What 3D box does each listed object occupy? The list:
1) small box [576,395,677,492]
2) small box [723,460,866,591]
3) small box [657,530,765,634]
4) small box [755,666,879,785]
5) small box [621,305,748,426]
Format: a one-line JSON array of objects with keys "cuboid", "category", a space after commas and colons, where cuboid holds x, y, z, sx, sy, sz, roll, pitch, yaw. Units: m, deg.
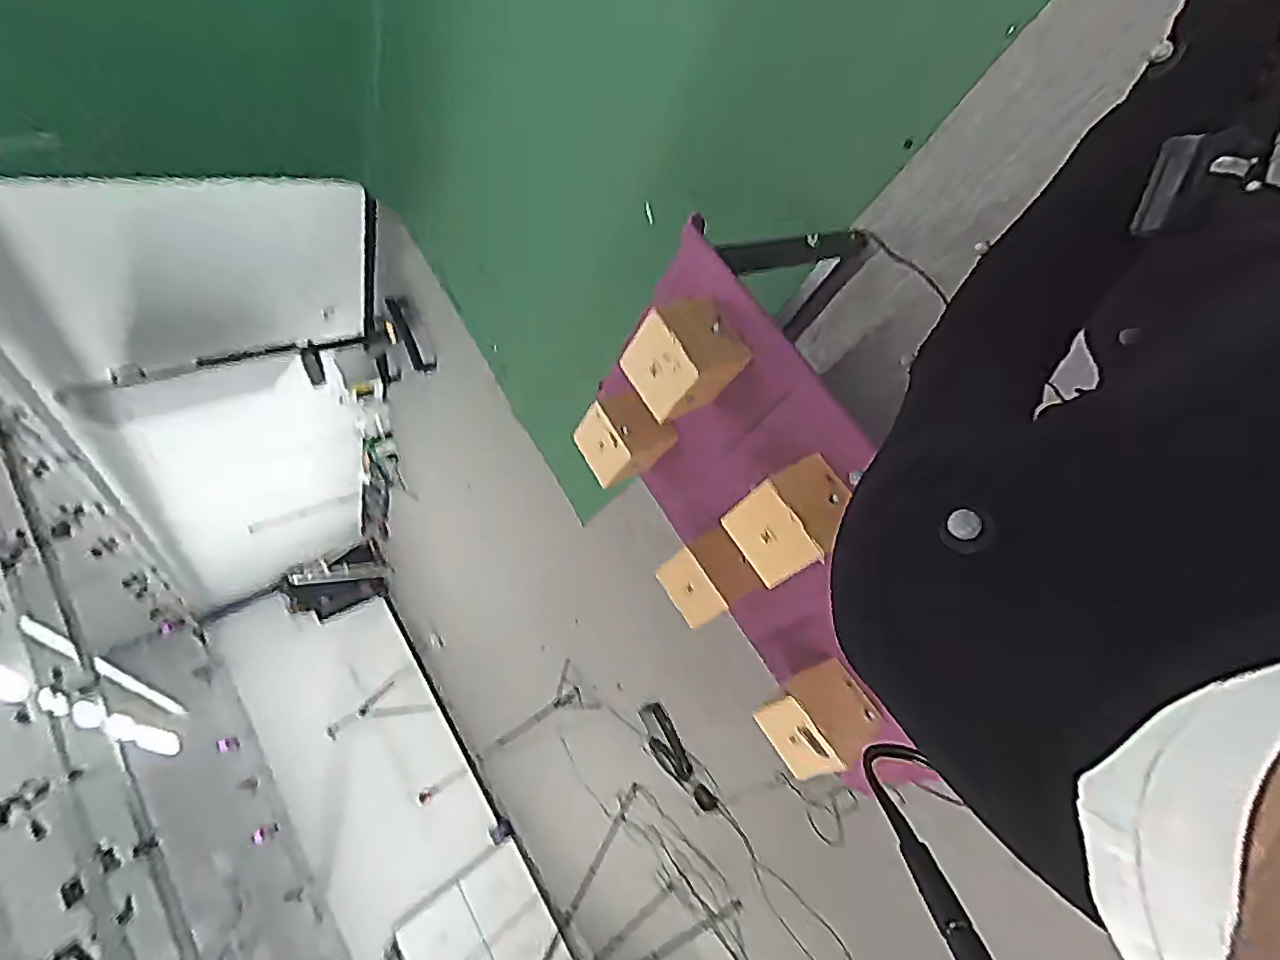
[{"cuboid": [-0.035, -0.098, 1.399, 0.168, 0.176, 0.179, 57, 143, 11], "category": "small box"}, {"cuboid": [0.306, 0.088, 1.073, 0.168, 0.176, 0.179, 55, 143, 15], "category": "small box"}, {"cuboid": [0.179, 0.244, 1.320, 0.168, 0.176, 0.179, 55, 142, 14], "category": "small box"}, {"cuboid": [0.399, 0.543, 1.204, 0.168, 0.176, 0.179, 54, 143, 17], "category": "small box"}, {"cuboid": [0.095, -0.244, 1.149, 0.168, 0.176, 0.179, 57, 143, 11], "category": "small box"}]
